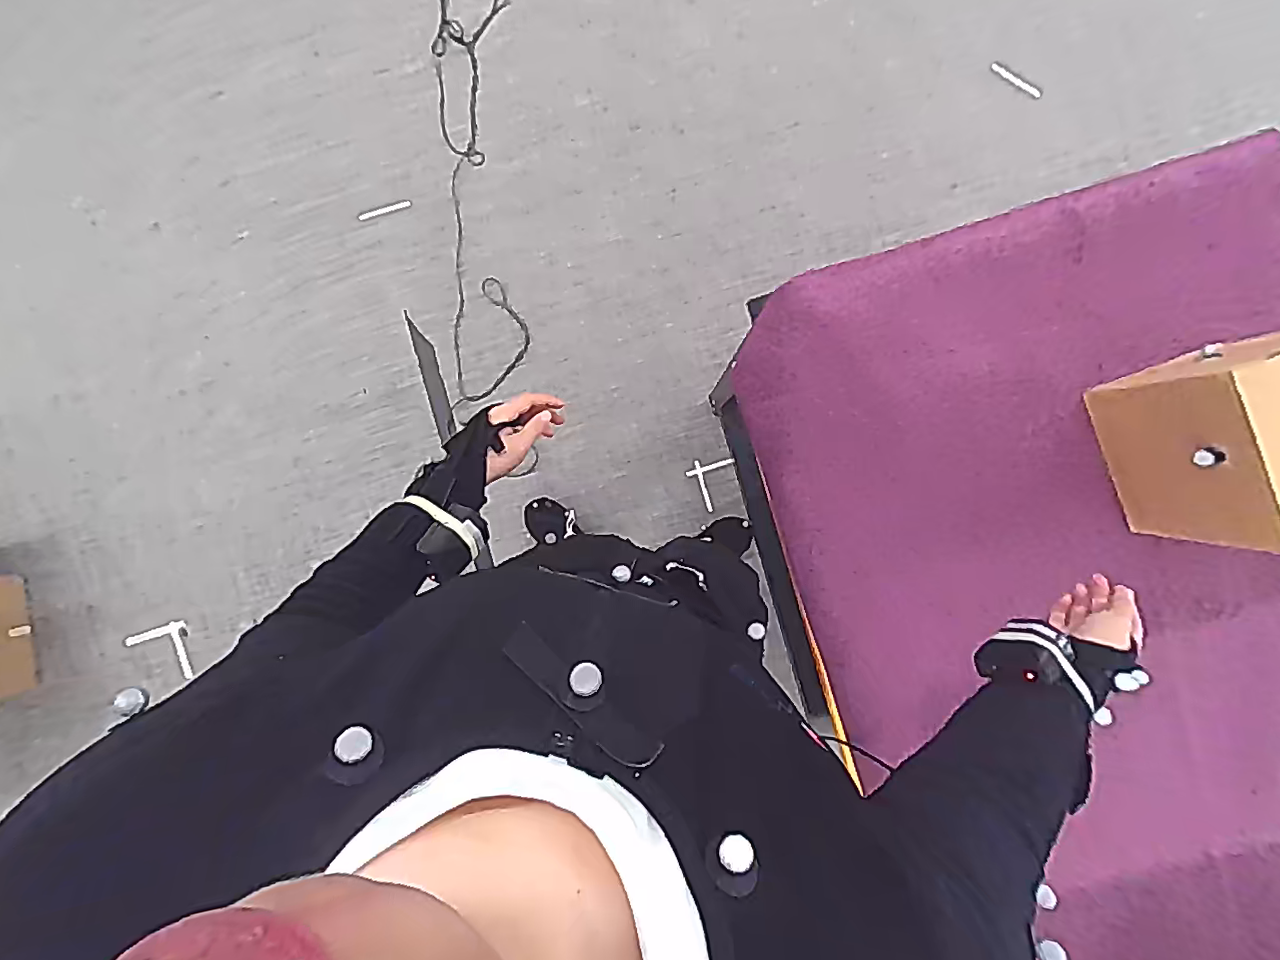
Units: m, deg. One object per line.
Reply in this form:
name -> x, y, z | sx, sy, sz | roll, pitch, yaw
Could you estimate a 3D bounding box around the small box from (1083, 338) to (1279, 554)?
small box -> 0.618, -0.044, 0.556 | 0.168, 0.176, 0.179 | -20, 91, 2
